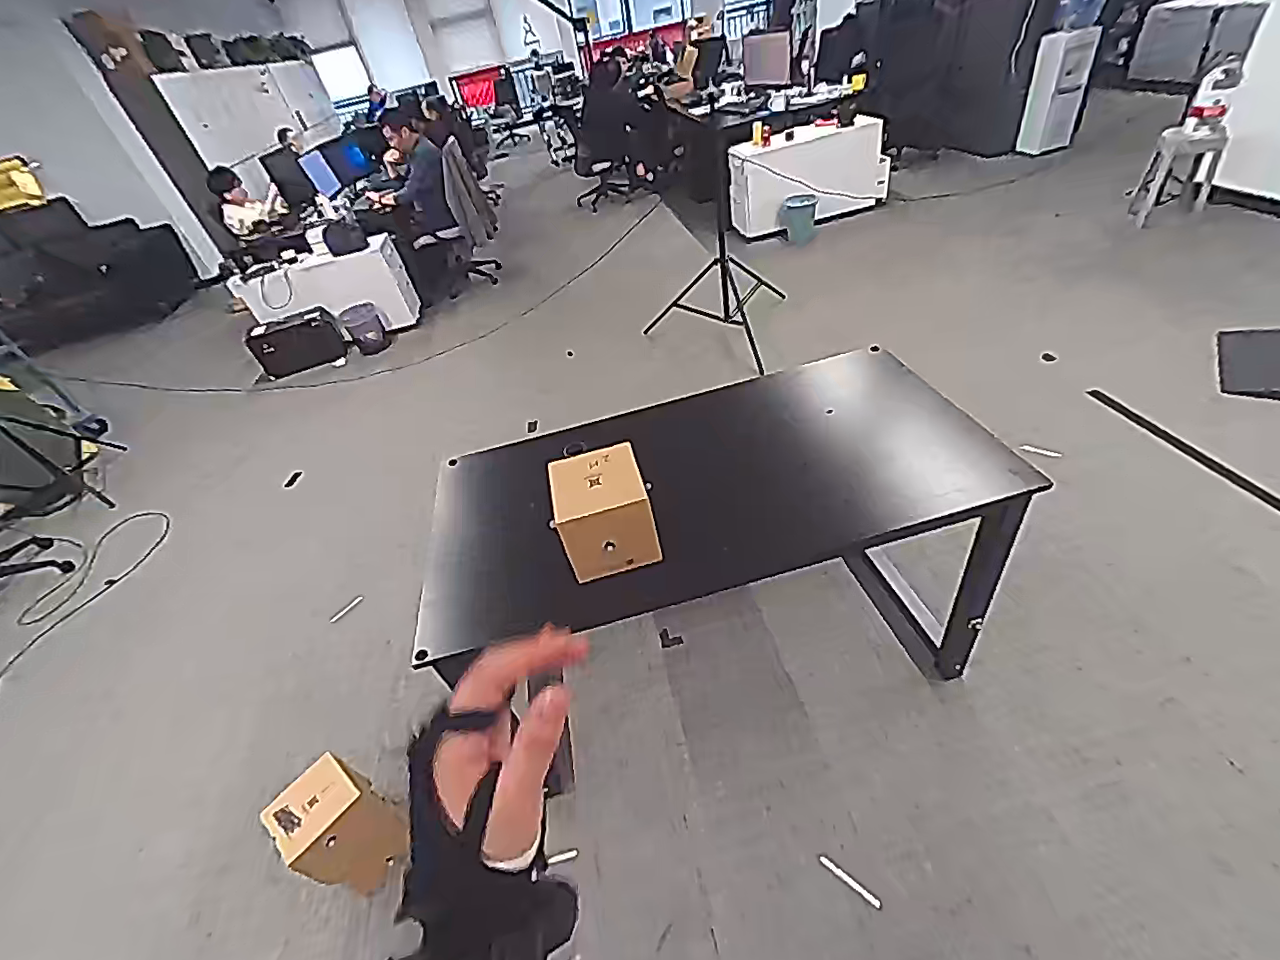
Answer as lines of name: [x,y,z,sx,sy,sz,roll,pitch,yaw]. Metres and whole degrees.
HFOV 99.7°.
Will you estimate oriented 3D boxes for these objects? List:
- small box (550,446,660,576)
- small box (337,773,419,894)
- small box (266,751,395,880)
small box: [-0.067,0.066,1.047,0.168,0.176,0.179,-15,40,-2]
small box: [-0.698,0.907,1.388,0.168,0.176,0.179,21,51,34]
small box: [-0.720,0.791,1.272,0.168,0.176,0.179,23,52,34]
